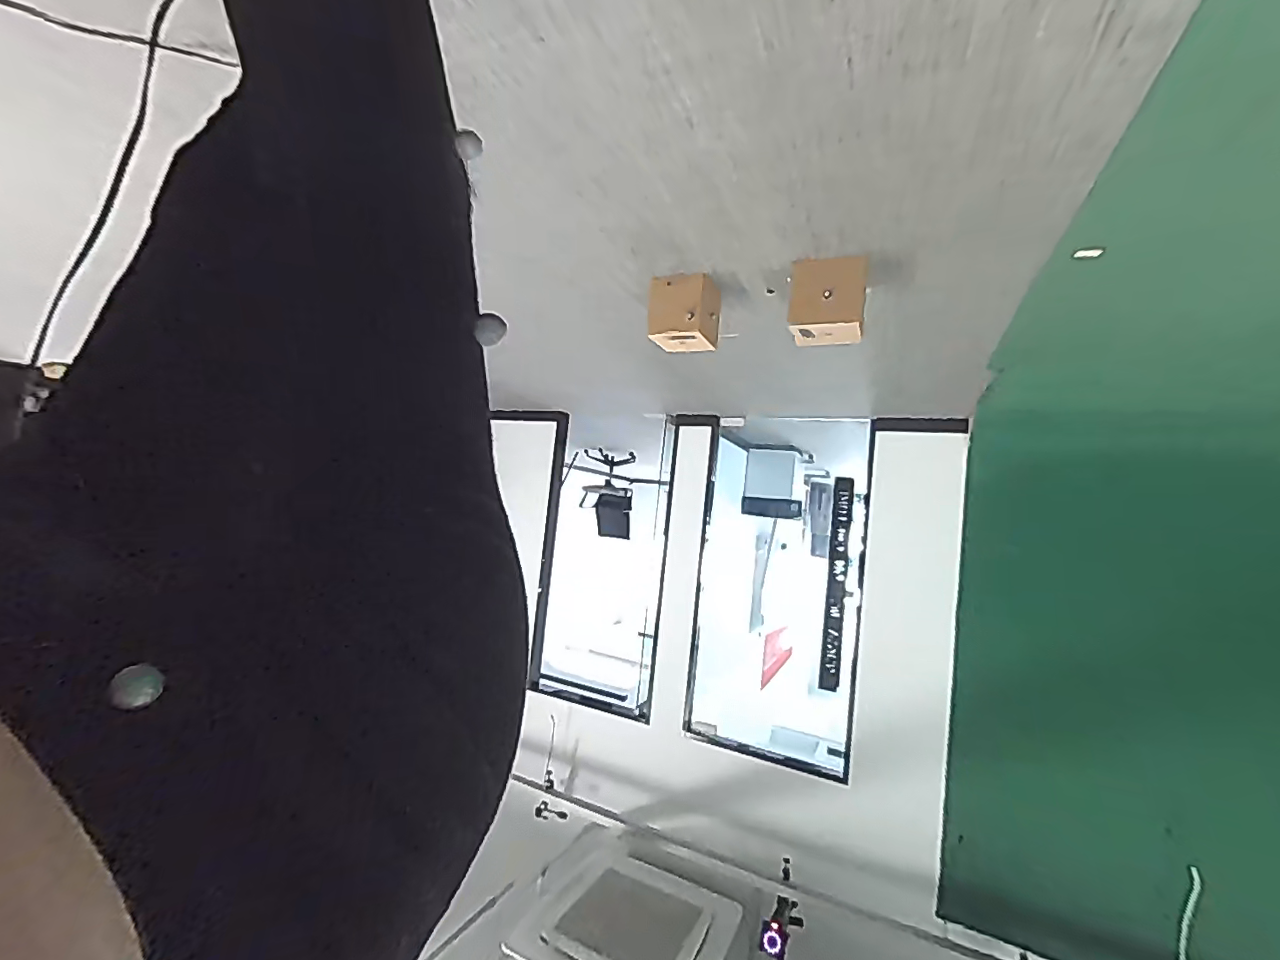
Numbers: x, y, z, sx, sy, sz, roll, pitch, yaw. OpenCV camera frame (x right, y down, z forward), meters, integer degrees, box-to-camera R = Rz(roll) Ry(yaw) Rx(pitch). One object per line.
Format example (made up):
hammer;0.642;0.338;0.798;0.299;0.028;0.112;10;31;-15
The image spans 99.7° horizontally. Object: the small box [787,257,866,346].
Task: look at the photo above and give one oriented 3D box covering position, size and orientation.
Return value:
small box;0.492;-0.464;1.419;0.179;0.176;0.168;3;176;24
